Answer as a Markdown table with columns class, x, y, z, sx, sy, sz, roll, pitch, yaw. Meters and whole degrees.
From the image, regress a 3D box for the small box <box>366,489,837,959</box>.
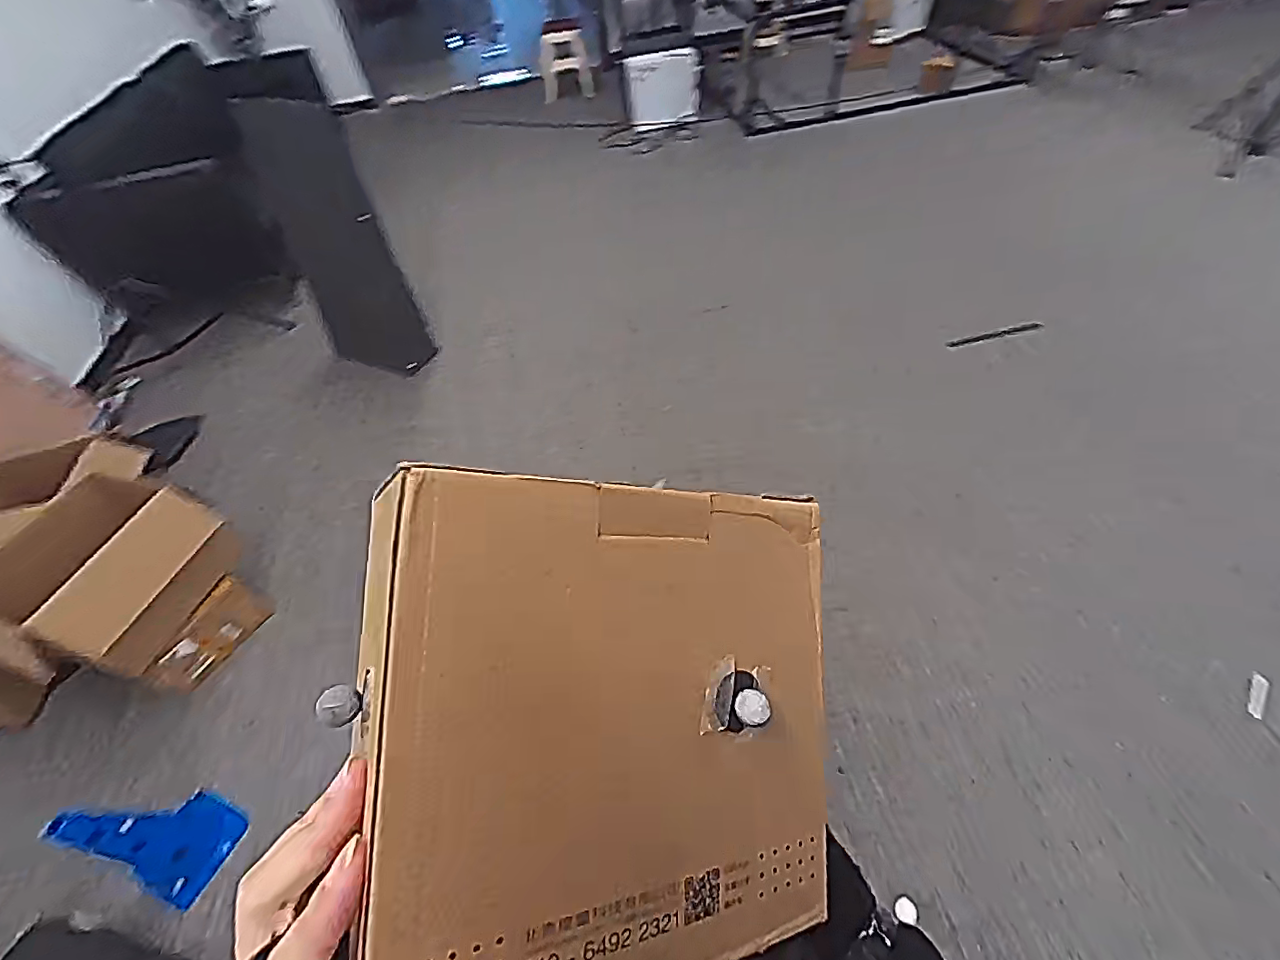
| class | x | y | z | sx | sy | sz | roll | pitch | yaw |
| --- | --- | --- | --- | --- | --- | --- | --- | --- | --- |
| small box | -0.029 | 0.098 | 0.256 | 0.168 | 0.179 | 0.176 | 6 | 82 | -27 |
